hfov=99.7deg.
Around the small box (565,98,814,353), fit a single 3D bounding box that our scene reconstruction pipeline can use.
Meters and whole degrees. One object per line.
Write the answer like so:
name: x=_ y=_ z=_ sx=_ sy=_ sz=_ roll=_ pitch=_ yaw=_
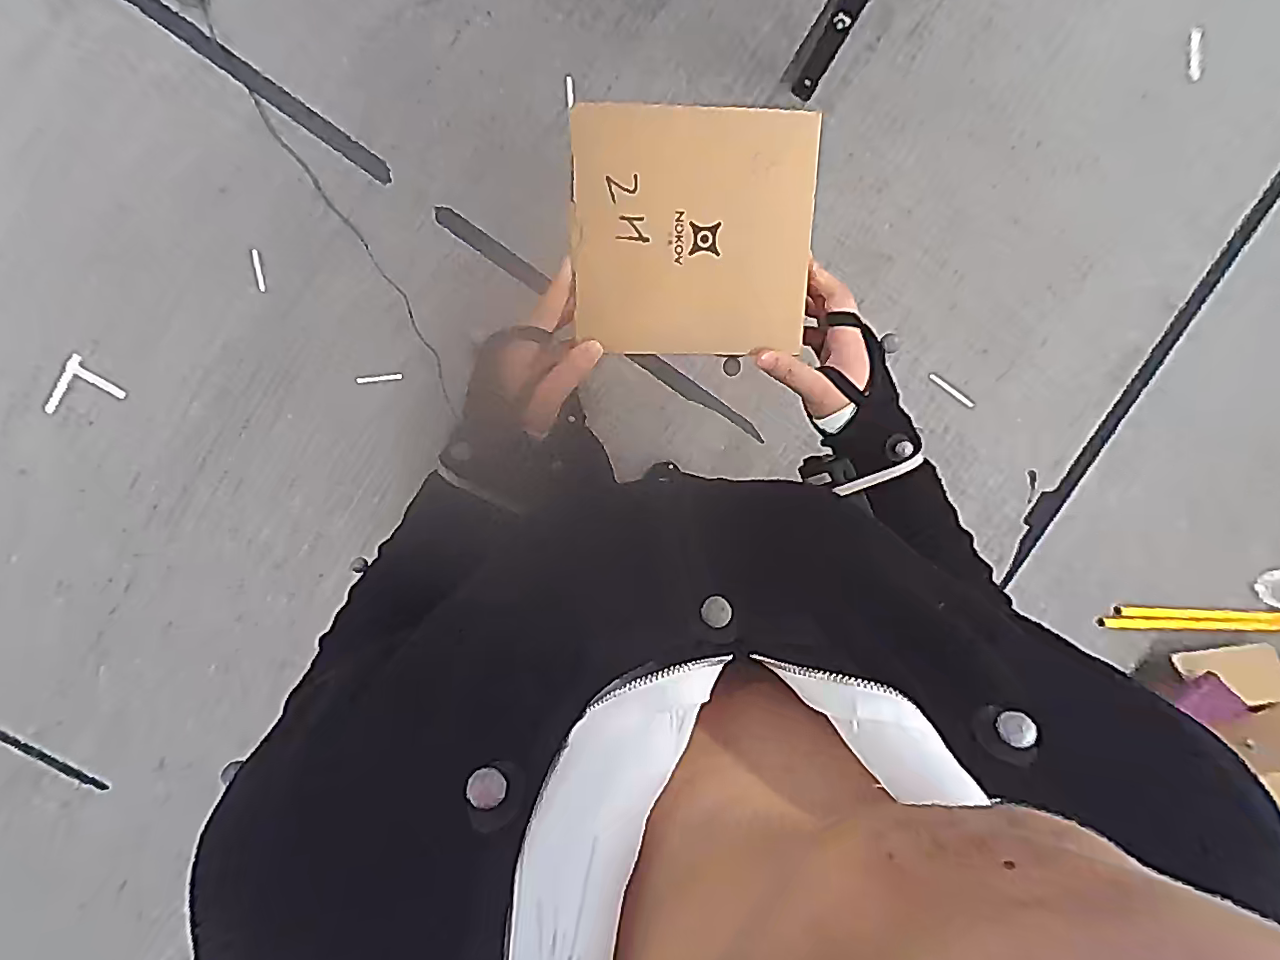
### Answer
small box: x=0.029 y=-0.199 z=0.467 sx=0.179 sy=0.176 sz=0.168 roll=0 pitch=105 yaw=-3
